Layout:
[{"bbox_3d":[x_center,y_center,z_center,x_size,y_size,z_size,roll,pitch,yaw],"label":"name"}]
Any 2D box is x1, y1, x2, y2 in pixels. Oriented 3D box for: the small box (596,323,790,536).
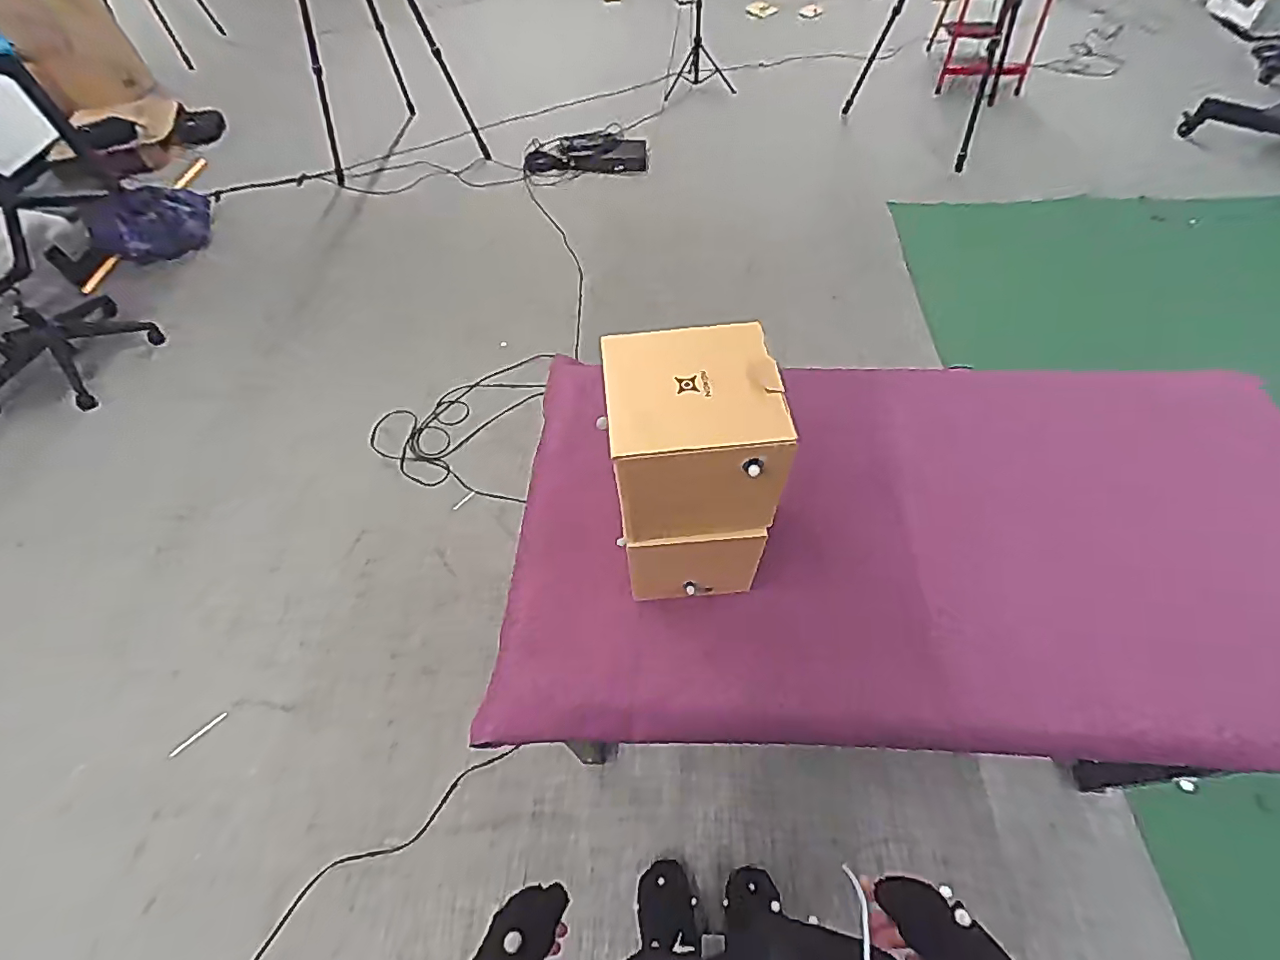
[{"bbox_3d":[0.050,-0.049,0.605,0.179,0.176,0.168,-6,56,-1],"label":"small box"}]
